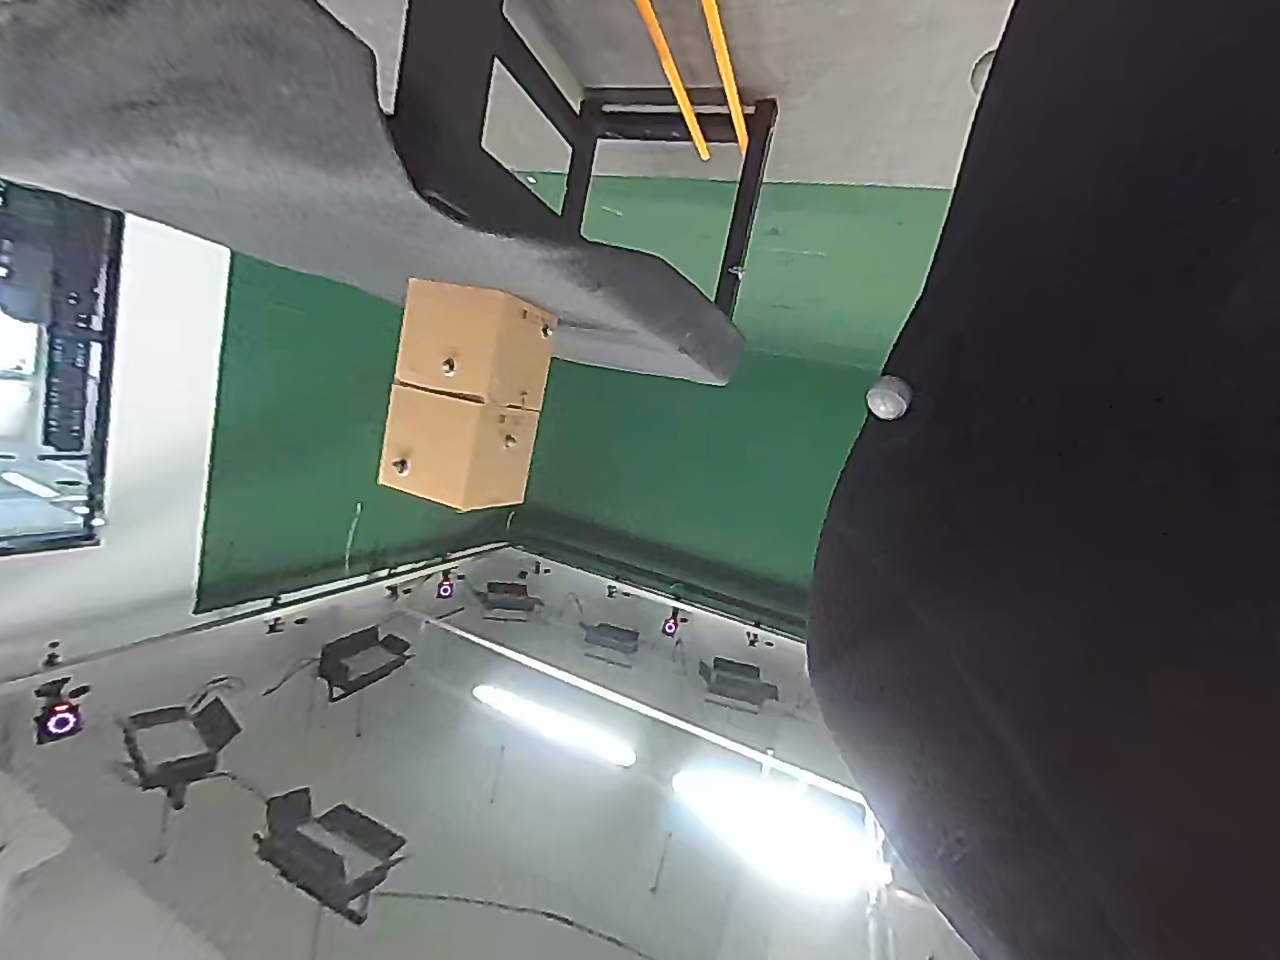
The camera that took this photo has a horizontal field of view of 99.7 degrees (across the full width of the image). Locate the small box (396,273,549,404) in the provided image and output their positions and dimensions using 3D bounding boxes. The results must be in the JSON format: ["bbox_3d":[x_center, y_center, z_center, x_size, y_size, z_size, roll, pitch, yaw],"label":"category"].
[{"bbox_3d":[-0.265,-0.228,0.887,0.179,0.176,0.168,15,-173,18],"label":"small box"}]

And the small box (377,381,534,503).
[{"bbox_3d":[-0.302,-0.068,0.907,0.179,0.176,0.168,15,-172,20],"label":"small box"}]
